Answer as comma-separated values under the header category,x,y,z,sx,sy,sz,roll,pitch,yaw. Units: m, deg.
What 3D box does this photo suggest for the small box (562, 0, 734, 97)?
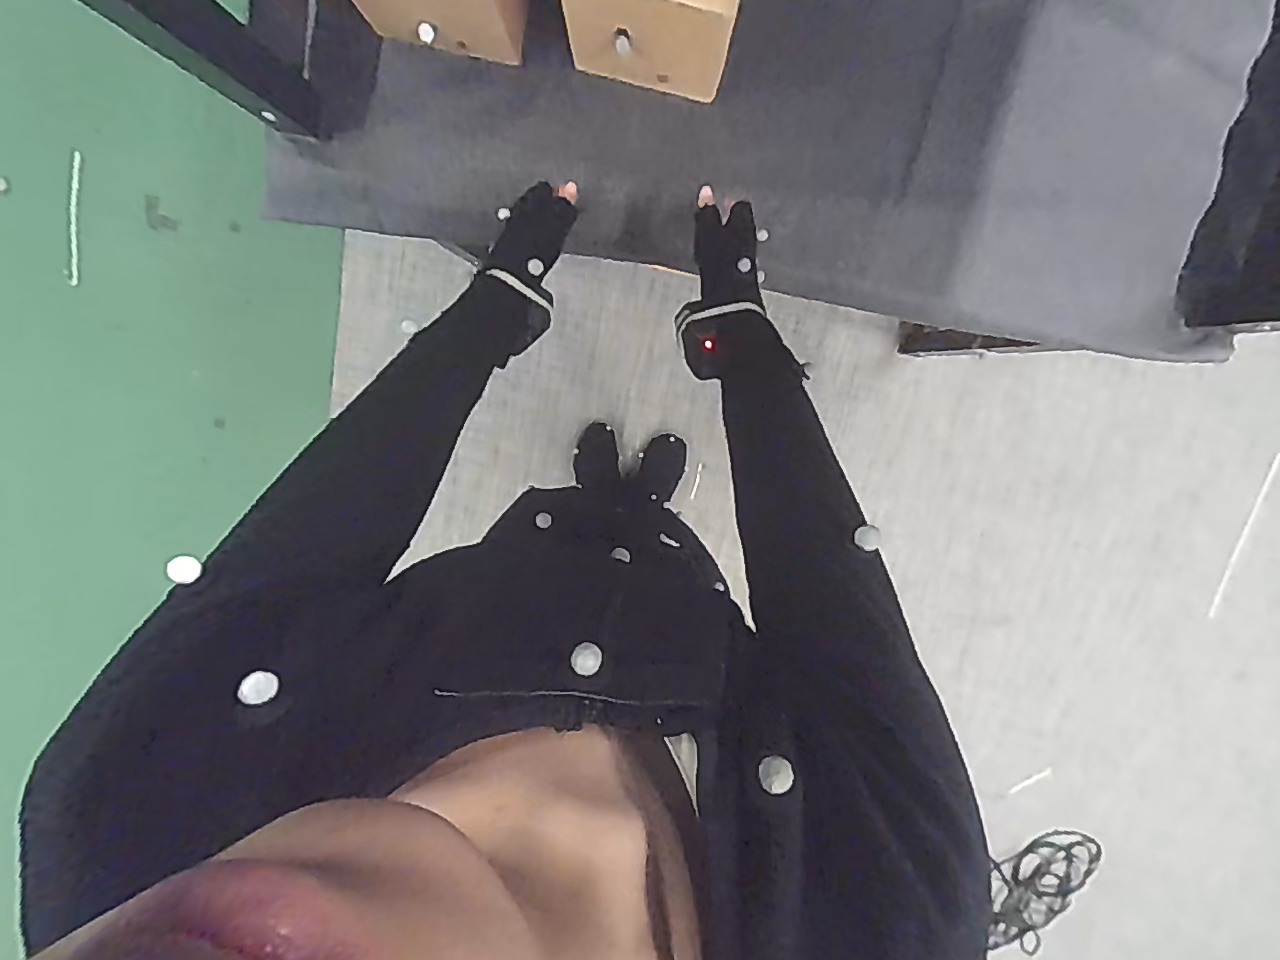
category,x,y,z,sx,sy,sz,roll,pitch,yaw
small box,0.020,-0.530,0.542,0.168,0.176,0.179,12,101,-3

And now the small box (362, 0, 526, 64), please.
category,x,y,z,sx,sy,sz,roll,pitch,yaw
small box,-0.204,-0.565,0.531,0.168,0.176,0.179,11,102,-3
